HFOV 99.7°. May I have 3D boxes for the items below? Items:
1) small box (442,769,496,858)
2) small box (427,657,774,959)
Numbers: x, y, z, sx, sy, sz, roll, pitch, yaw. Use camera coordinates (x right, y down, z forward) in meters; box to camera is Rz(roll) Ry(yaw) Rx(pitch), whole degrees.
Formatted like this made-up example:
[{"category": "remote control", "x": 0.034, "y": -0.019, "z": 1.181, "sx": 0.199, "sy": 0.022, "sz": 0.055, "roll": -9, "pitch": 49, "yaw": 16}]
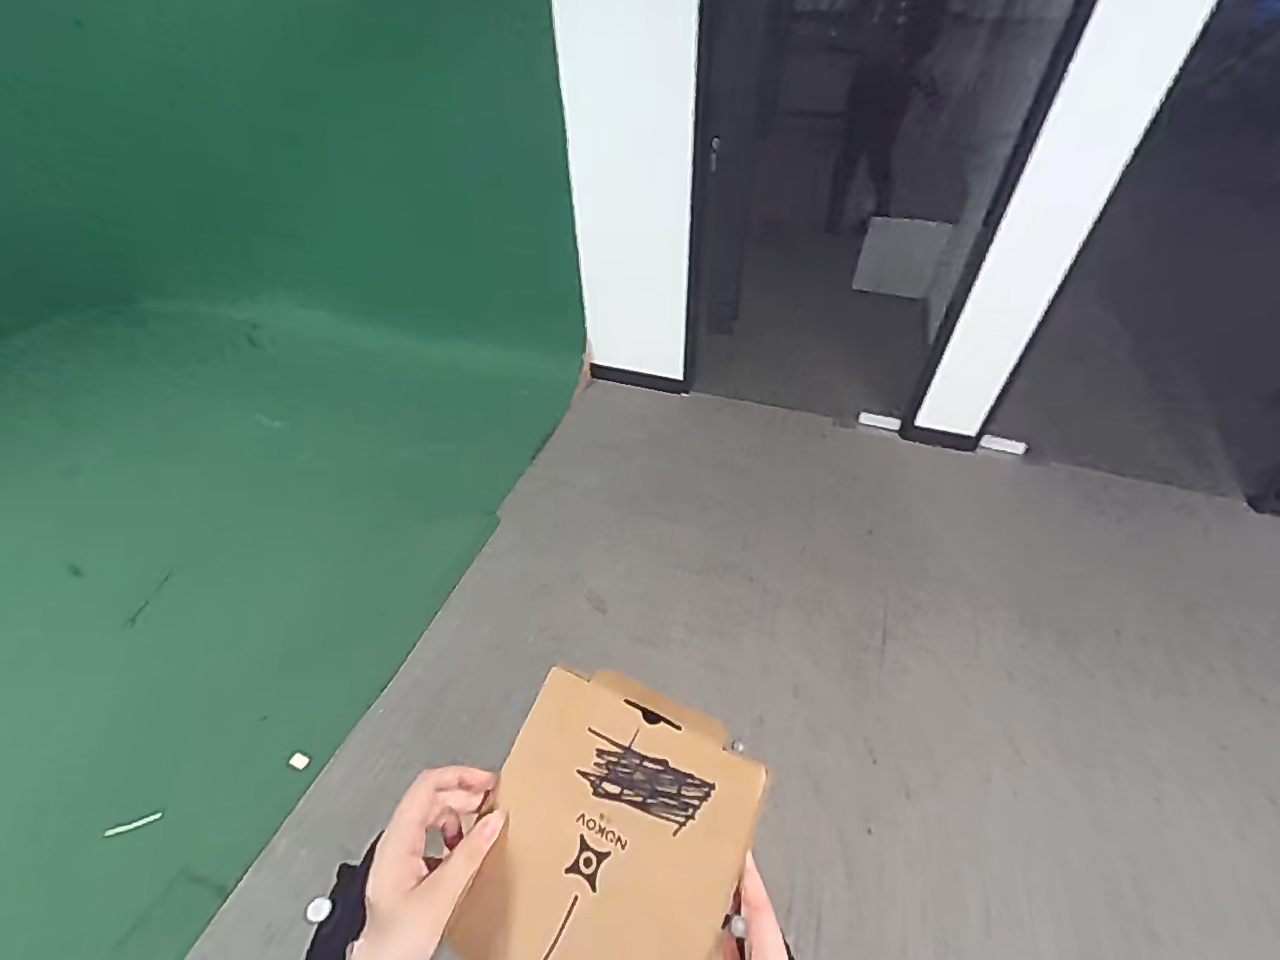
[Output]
[{"category": "small box", "x": -0.310, "y": 0.789, "z": 1.214, "sx": 0.168, "sy": 0.176, "sz": 0.179, "roll": 12, "pitch": 46, "yaw": 12}, {"category": "small box", "x": -0.009, "y": 0.261, "z": 0.401, "sx": 0.168, "sy": 0.176, "sz": 0.179, "roll": 17, "pitch": 66, "yaw": 22}]
